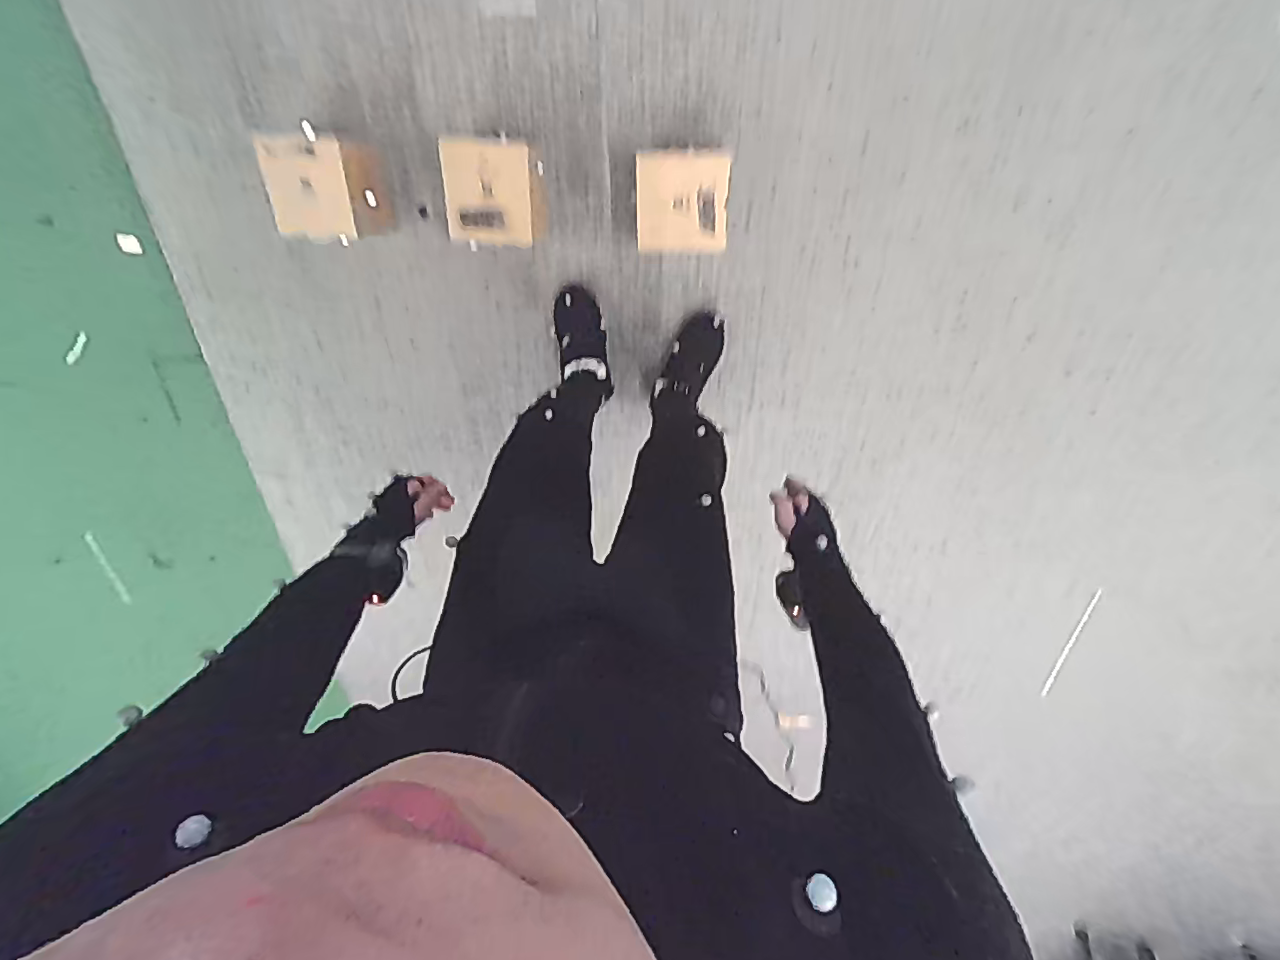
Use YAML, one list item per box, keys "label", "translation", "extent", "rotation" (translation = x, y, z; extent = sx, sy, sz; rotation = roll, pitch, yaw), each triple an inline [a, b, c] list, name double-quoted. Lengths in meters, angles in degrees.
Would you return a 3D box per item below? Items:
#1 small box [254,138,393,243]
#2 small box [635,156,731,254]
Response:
- label: "small box"
  translation: [-0.633, -0.595, 1.109]
  extent: [0.168, 0.176, 0.179]
  rotation: [4, 120, 2]
- label: "small box"
  translation: [0.083, -0.552, 1.081]
  extent: [0.179, 0.176, 0.168]
  rotation: [2, 120, 4]
